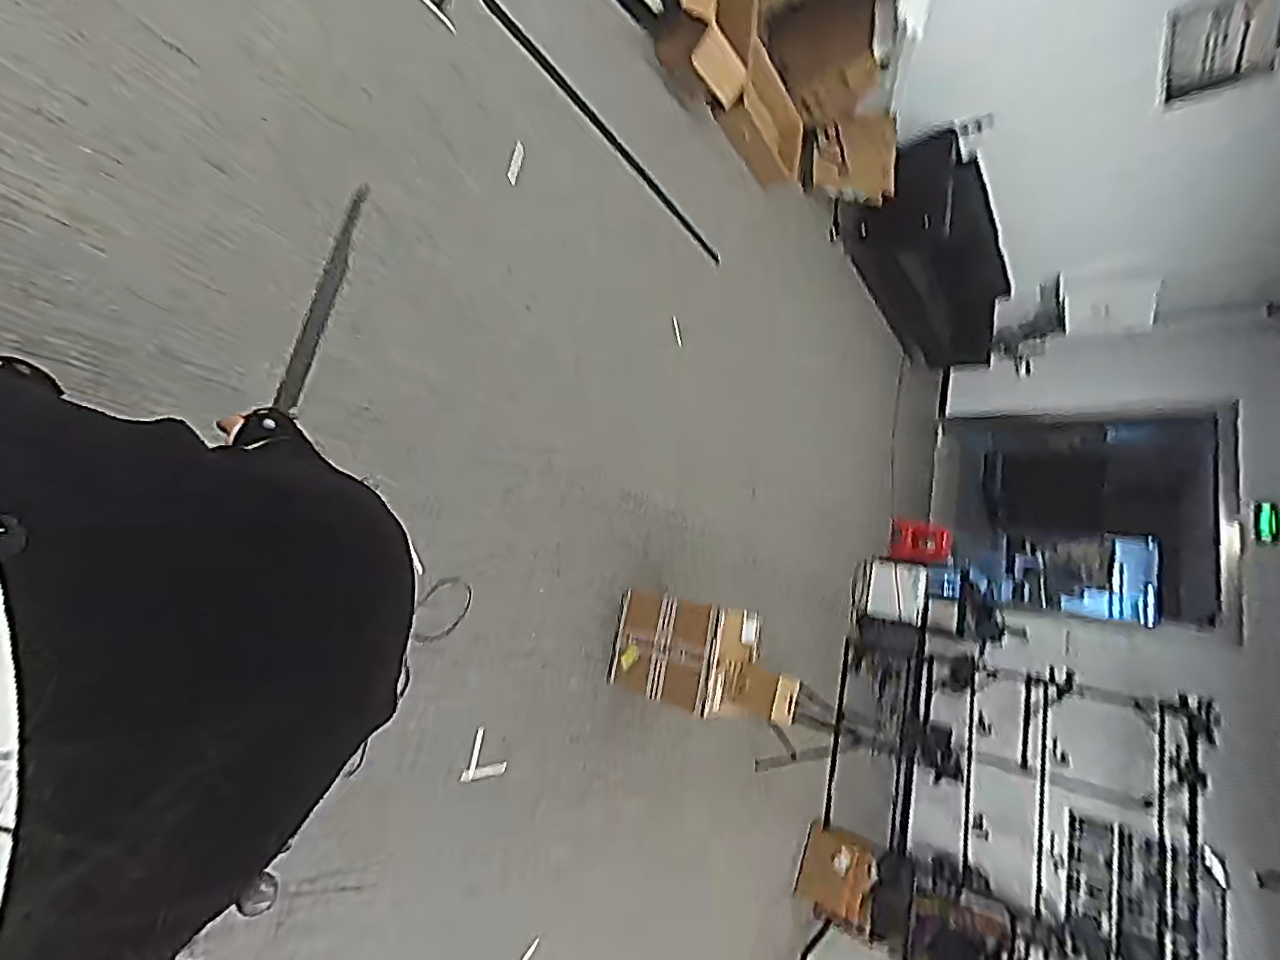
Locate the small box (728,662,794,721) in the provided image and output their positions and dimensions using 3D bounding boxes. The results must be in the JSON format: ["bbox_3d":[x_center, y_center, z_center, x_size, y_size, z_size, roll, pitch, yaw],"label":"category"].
[{"bbox_3d":[0.474,0.826,2.115,0.179,0.176,0.168,32,70,-43],"label":"small box"}]
